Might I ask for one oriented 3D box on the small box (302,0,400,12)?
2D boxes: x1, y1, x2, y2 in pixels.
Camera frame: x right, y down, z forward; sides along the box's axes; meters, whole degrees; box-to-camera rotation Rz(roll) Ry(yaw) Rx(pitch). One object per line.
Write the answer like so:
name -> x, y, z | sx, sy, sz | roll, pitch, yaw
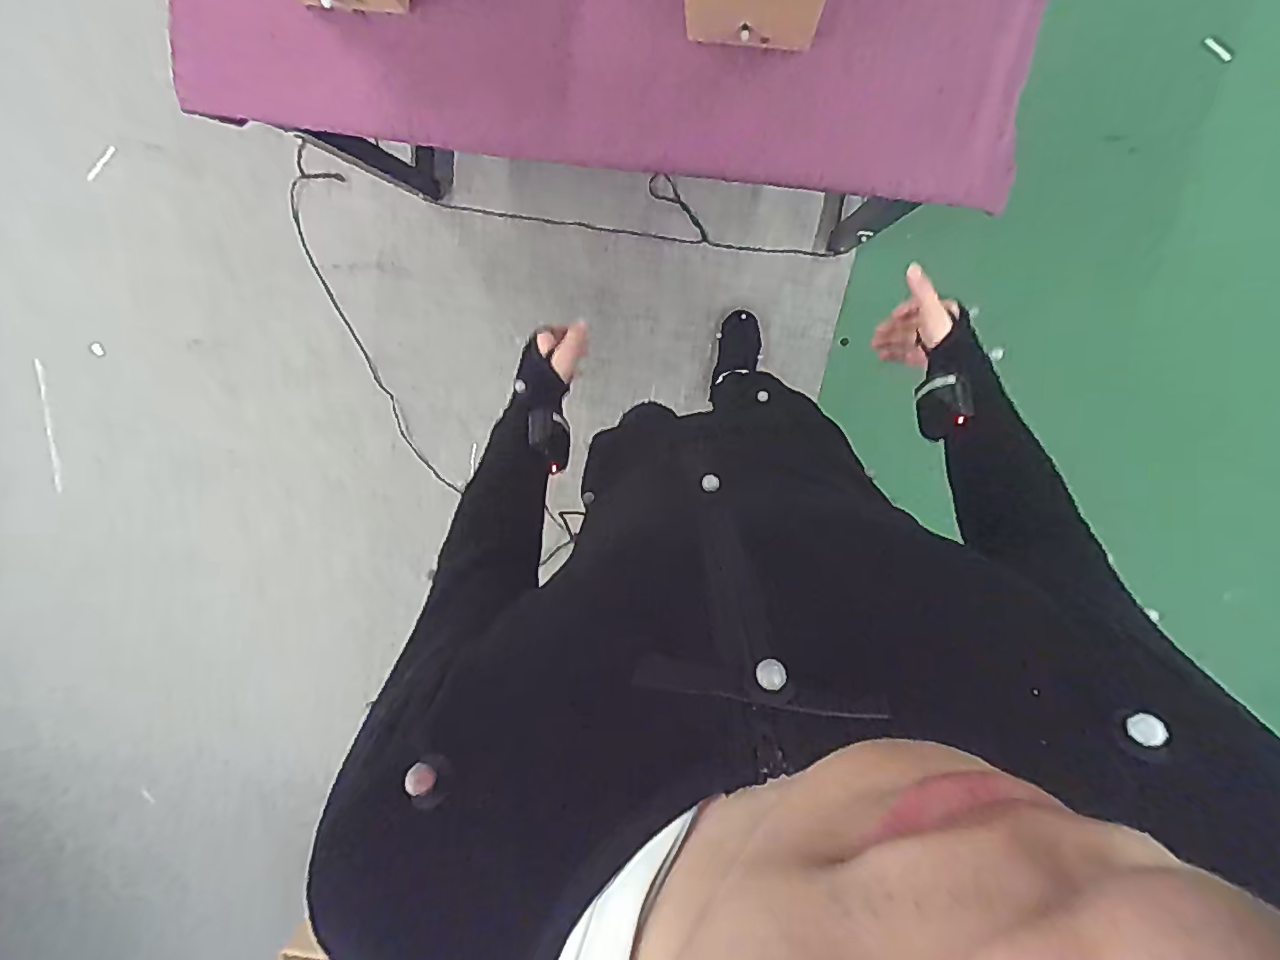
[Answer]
small box -> -0.409, -0.731, 0.660 | 0.168, 0.176, 0.179 | 9, 105, 4
